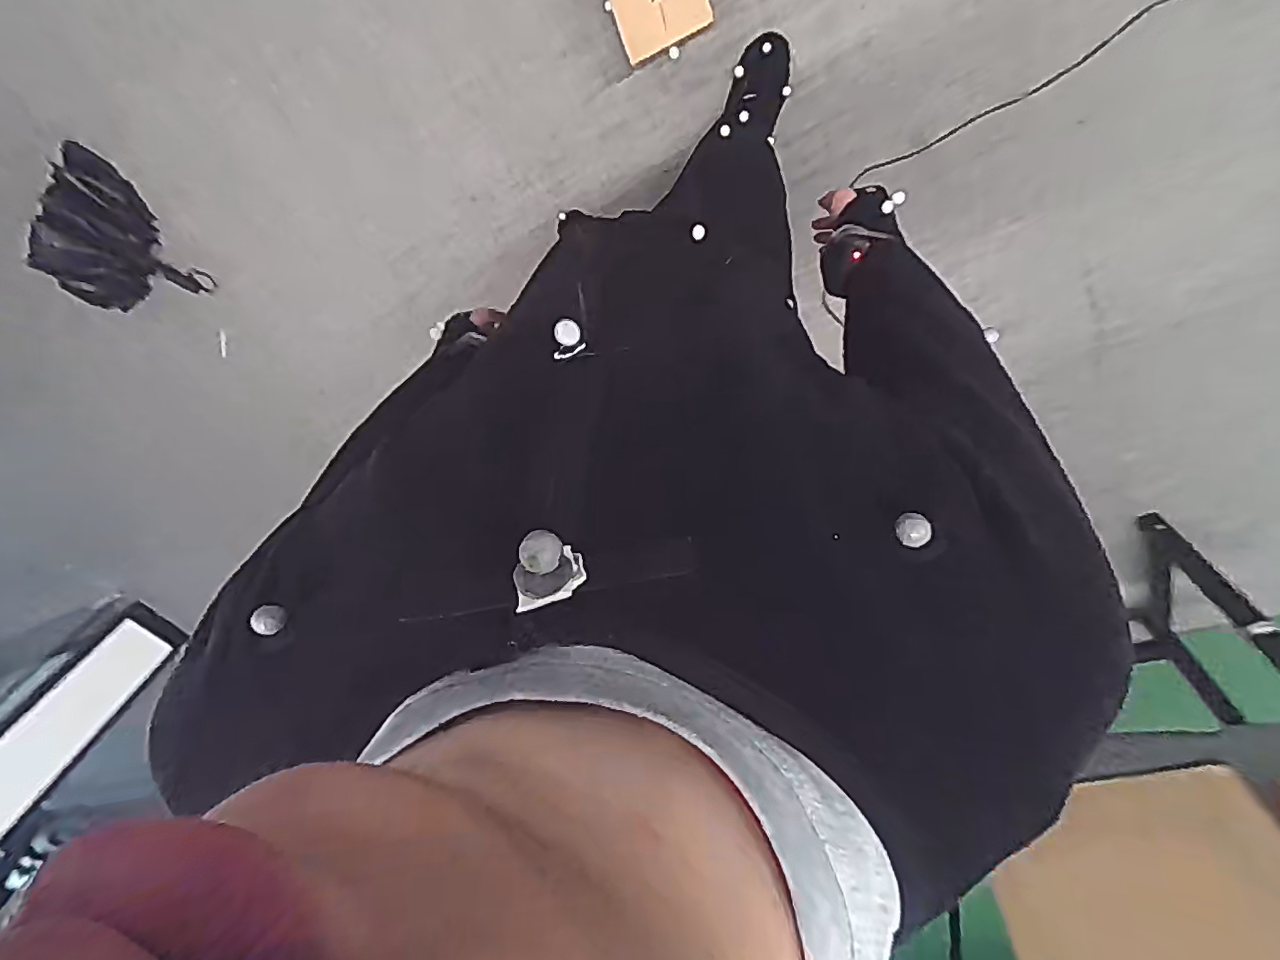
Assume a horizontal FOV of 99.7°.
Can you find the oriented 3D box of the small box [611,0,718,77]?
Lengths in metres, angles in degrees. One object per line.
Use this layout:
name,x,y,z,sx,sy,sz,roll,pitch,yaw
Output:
small box,0.044,-0.903,1.028,0.168,0.176,0.179,-15,124,20
